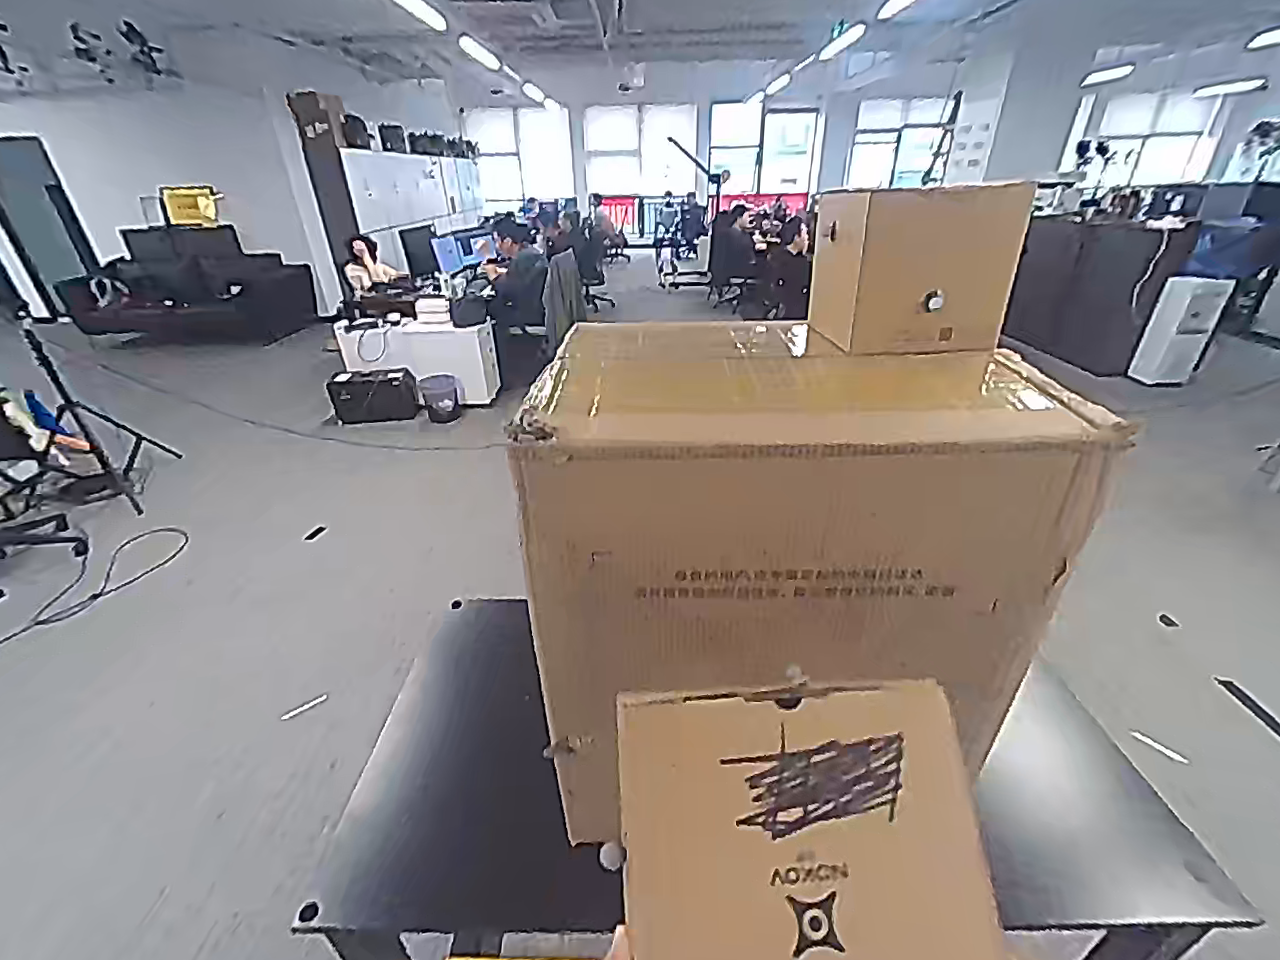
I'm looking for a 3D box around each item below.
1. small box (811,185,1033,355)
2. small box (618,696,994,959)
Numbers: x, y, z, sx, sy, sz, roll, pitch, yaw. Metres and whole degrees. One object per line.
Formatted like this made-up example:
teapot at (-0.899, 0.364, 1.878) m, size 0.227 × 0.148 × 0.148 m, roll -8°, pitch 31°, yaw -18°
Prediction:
small box at (0.313, -0.252, 0.648) m, size 0.168 × 0.176 × 0.179 m, roll -2°, pitch 27°, yaw 1°
small box at (0.072, 0.227, 0.321) m, size 0.168 × 0.176 × 0.179 m, roll -1°, pitch 68°, yaw -4°
